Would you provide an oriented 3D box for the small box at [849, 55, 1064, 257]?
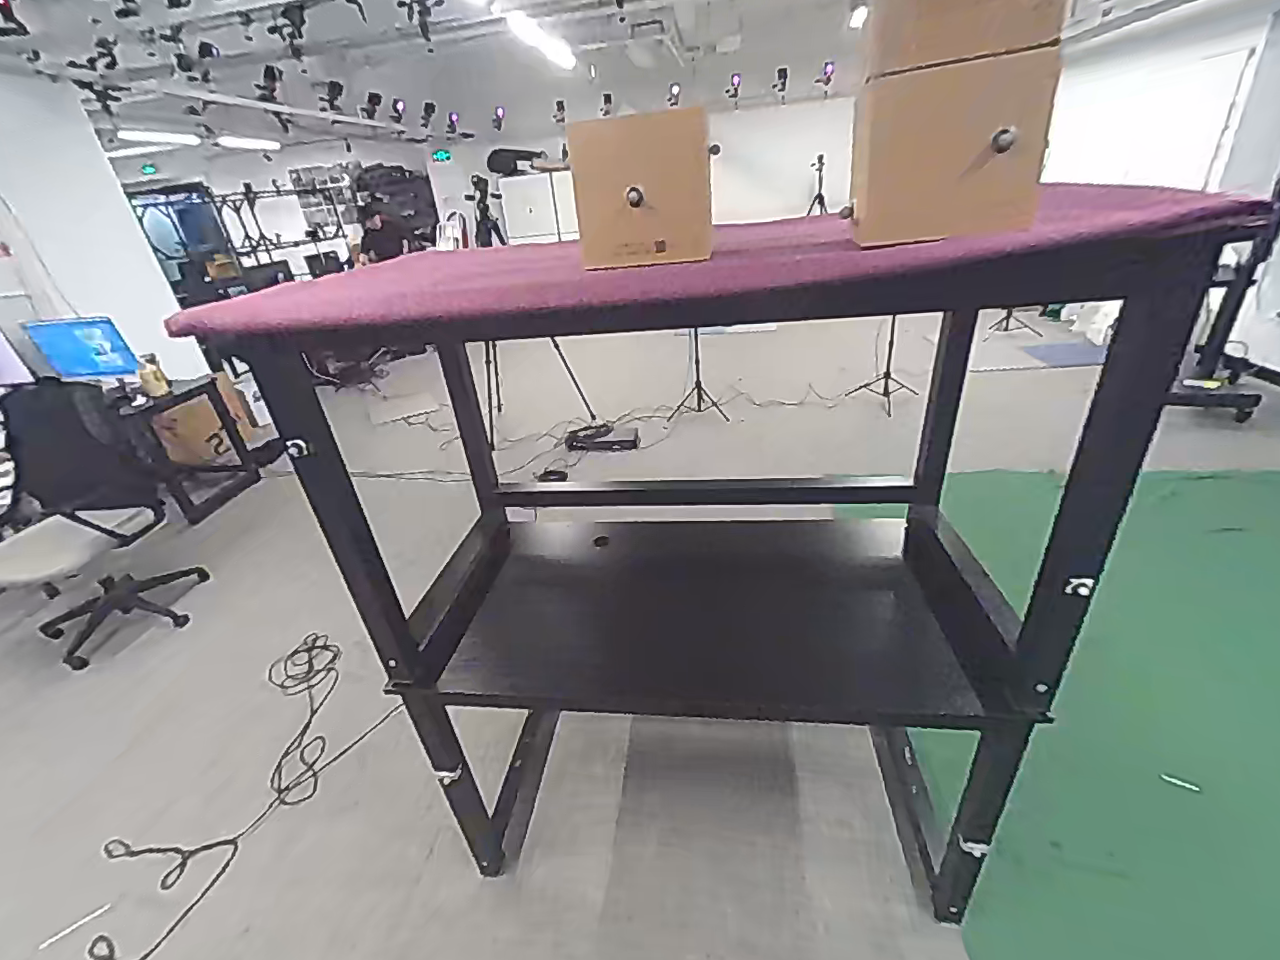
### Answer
[{"bbox_3d":[0.355,-0.372,0.646,0.179,0.176,0.168,-1,26,15],"label":"small box"}]

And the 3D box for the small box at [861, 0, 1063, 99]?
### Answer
[{"bbox_3d":[0.337,-0.521,0.582,0.179,0.176,0.168,2,26,17],"label":"small box"}]

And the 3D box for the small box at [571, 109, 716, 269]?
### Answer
[{"bbox_3d":[0.017,-0.387,0.737,0.168,0.176,0.179,0,28,9],"label":"small box"}]
